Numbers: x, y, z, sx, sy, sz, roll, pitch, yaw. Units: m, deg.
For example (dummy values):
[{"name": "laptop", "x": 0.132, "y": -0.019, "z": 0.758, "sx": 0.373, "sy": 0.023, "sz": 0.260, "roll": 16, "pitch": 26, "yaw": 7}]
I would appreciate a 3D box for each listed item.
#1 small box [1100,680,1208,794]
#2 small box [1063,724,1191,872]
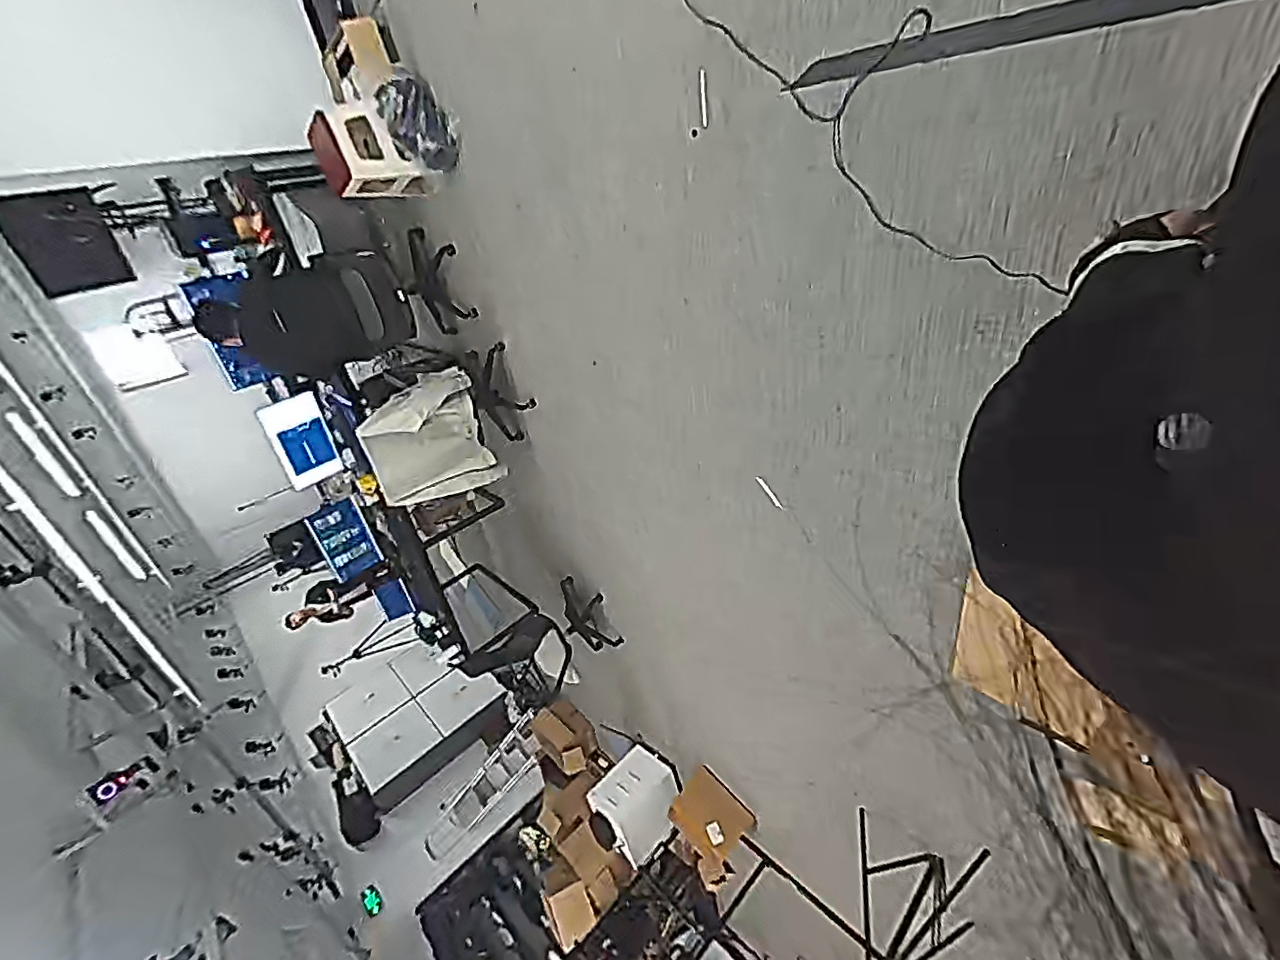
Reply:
[{"name": "small box", "x": 1.173, "y": 0.607, "z": 1.251, "sx": 0.168, "sy": 0.176, "sz": 0.179, "roll": 17, "pitch": 130, "yaw": 45}, {"name": "small box", "x": 1.049, "y": 0.676, "z": 1.167, "sx": 0.168, "sy": 0.176, "sz": 0.179, "roll": 17, "pitch": 129, "yaw": 45}]
